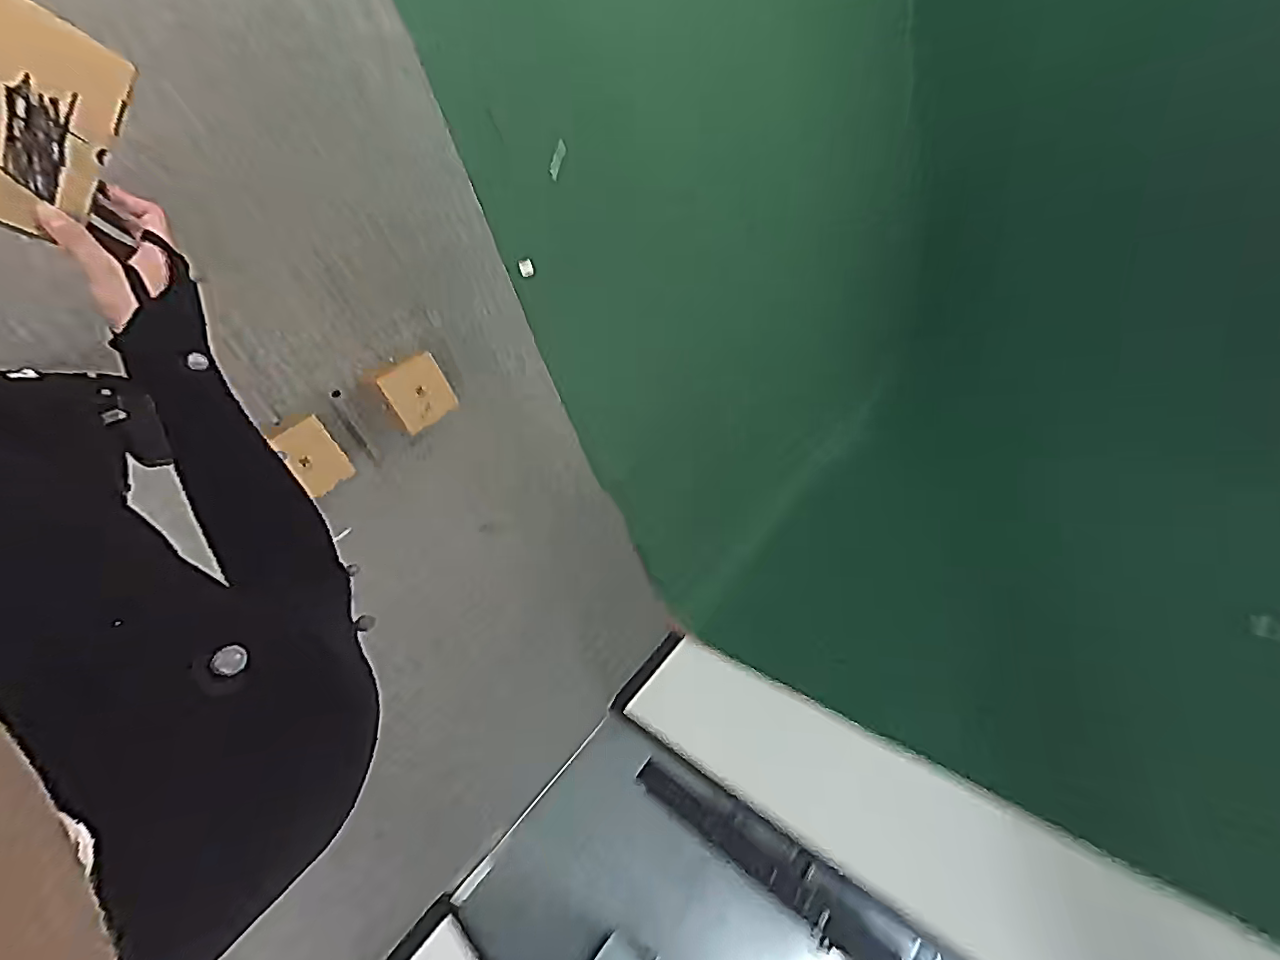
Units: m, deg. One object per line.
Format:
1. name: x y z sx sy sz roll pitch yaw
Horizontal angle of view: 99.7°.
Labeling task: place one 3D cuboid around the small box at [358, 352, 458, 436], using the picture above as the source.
1. small box: -0.654 -0.244 1.515 0.168 0.176 0.179 -41 127 -29

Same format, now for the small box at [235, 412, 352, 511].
1. small box: -0.870 -0.053 1.359 0.168 0.176 0.179 -42 127 -29
